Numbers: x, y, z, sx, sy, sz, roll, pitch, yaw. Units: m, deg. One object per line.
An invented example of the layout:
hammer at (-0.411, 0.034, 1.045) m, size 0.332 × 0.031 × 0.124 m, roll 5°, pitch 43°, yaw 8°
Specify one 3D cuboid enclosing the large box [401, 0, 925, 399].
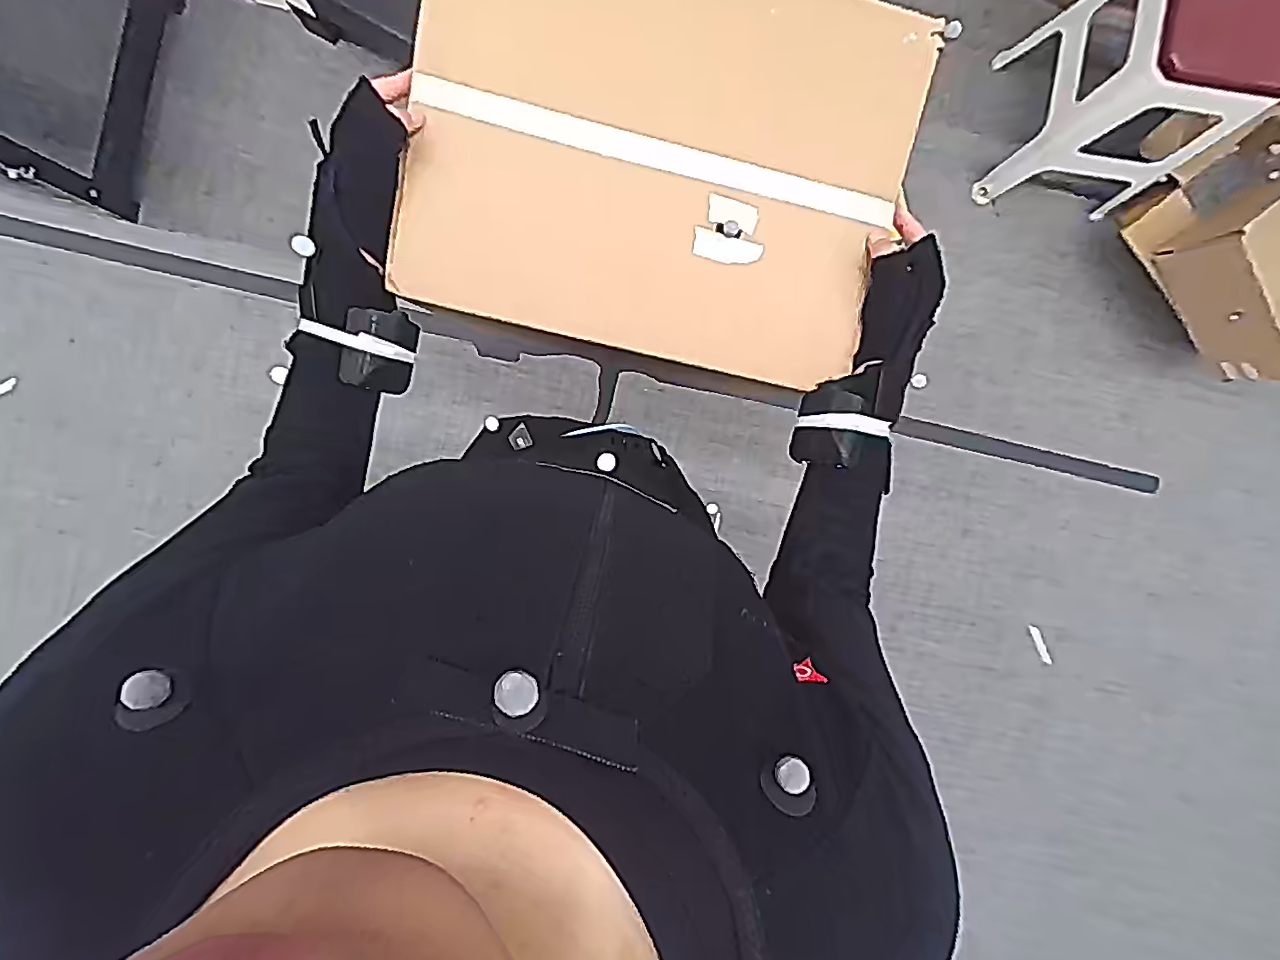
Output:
large box at (0.005, -0.283, 0.602) m, size 0.408 × 0.320 × 0.320 m, roll 12°, pitch 99°, yaw -7°
